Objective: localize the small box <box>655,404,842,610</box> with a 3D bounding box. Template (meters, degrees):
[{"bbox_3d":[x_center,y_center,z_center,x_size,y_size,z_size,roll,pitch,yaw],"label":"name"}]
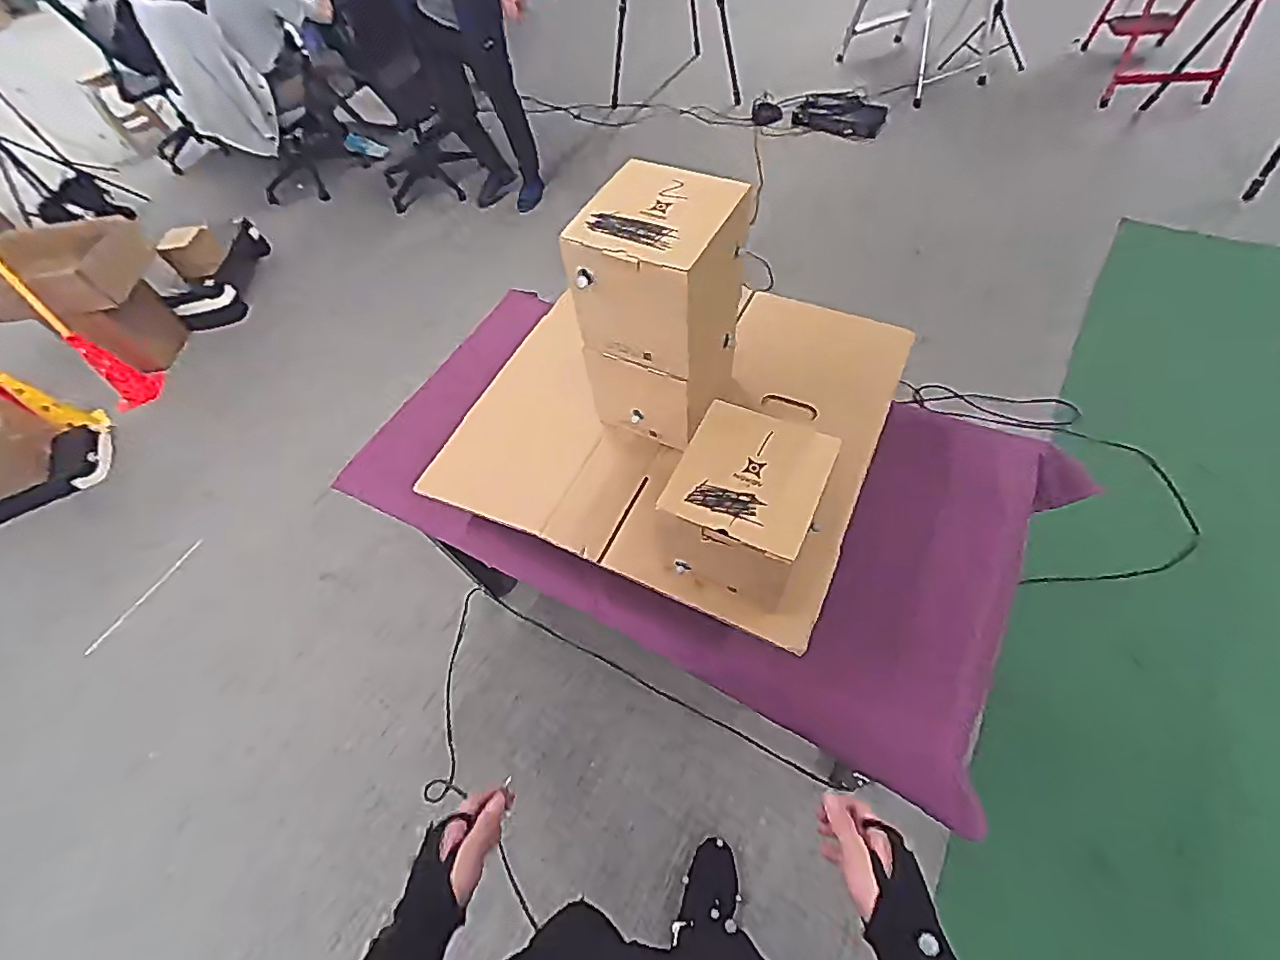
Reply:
[{"bbox_3d":[0.135,0.040,0.689,0.168,0.176,0.179,22,62,18],"label":"small box"}]

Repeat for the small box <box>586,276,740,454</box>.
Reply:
[{"bbox_3d":[0.039,-0.174,0.830,0.168,0.176,0.179,23,64,18],"label":"small box"}]
